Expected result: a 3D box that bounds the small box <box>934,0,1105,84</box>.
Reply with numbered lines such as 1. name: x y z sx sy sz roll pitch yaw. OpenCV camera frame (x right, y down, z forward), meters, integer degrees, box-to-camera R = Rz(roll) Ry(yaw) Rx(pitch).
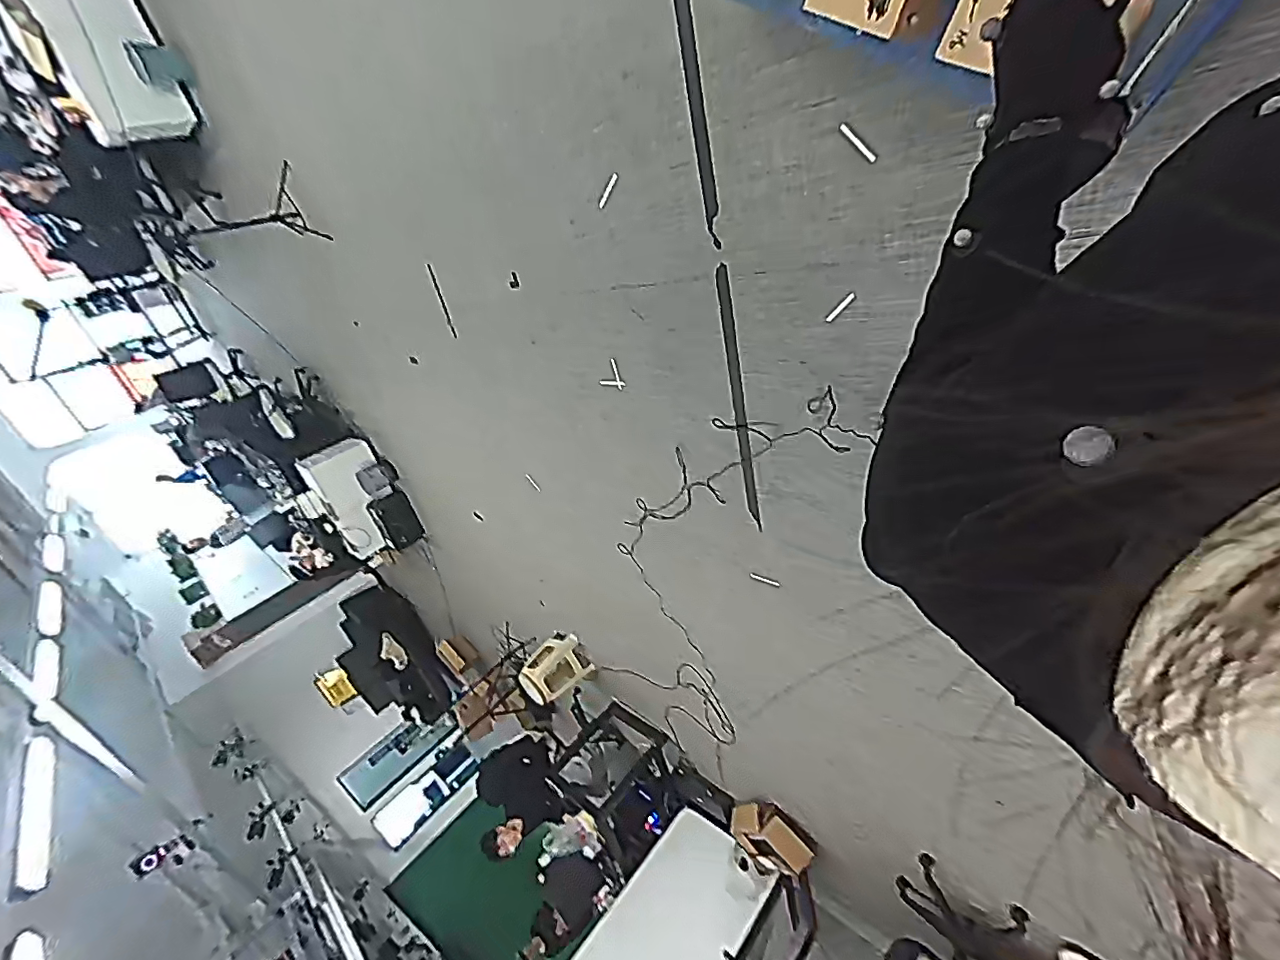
1. small box: 0.596 -0.730 0.820 0.179 0.176 0.168 36 140 20
